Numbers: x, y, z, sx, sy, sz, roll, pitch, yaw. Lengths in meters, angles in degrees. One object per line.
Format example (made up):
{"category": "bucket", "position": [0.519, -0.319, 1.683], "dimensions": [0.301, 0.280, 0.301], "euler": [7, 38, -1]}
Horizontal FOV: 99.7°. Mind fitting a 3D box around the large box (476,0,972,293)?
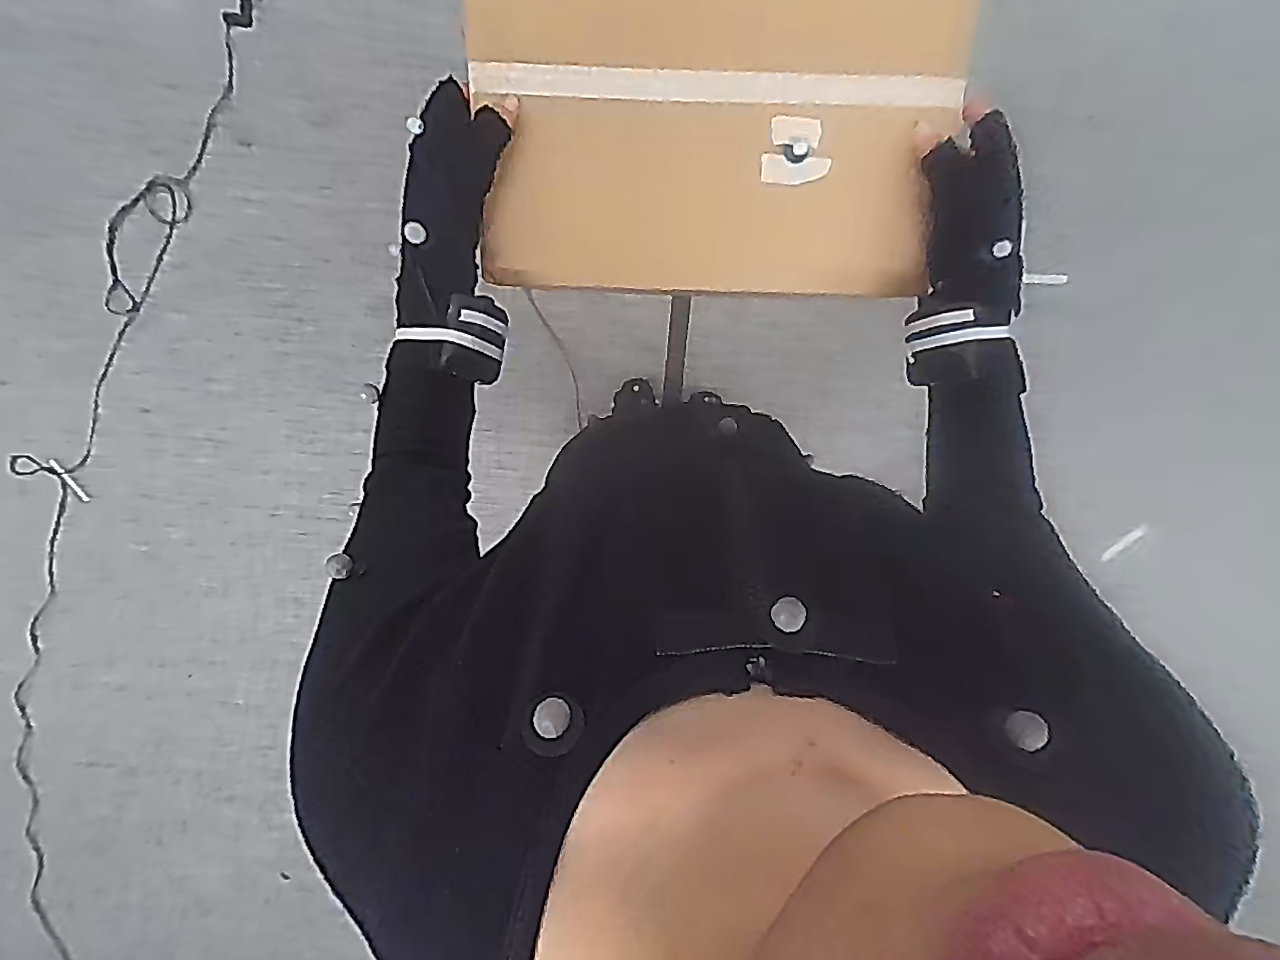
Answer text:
{"category": "large box", "position": [0.061, -0.372, 0.589], "dimensions": [0.408, 0.320, 0.320], "euler": [1, 109, -2]}
